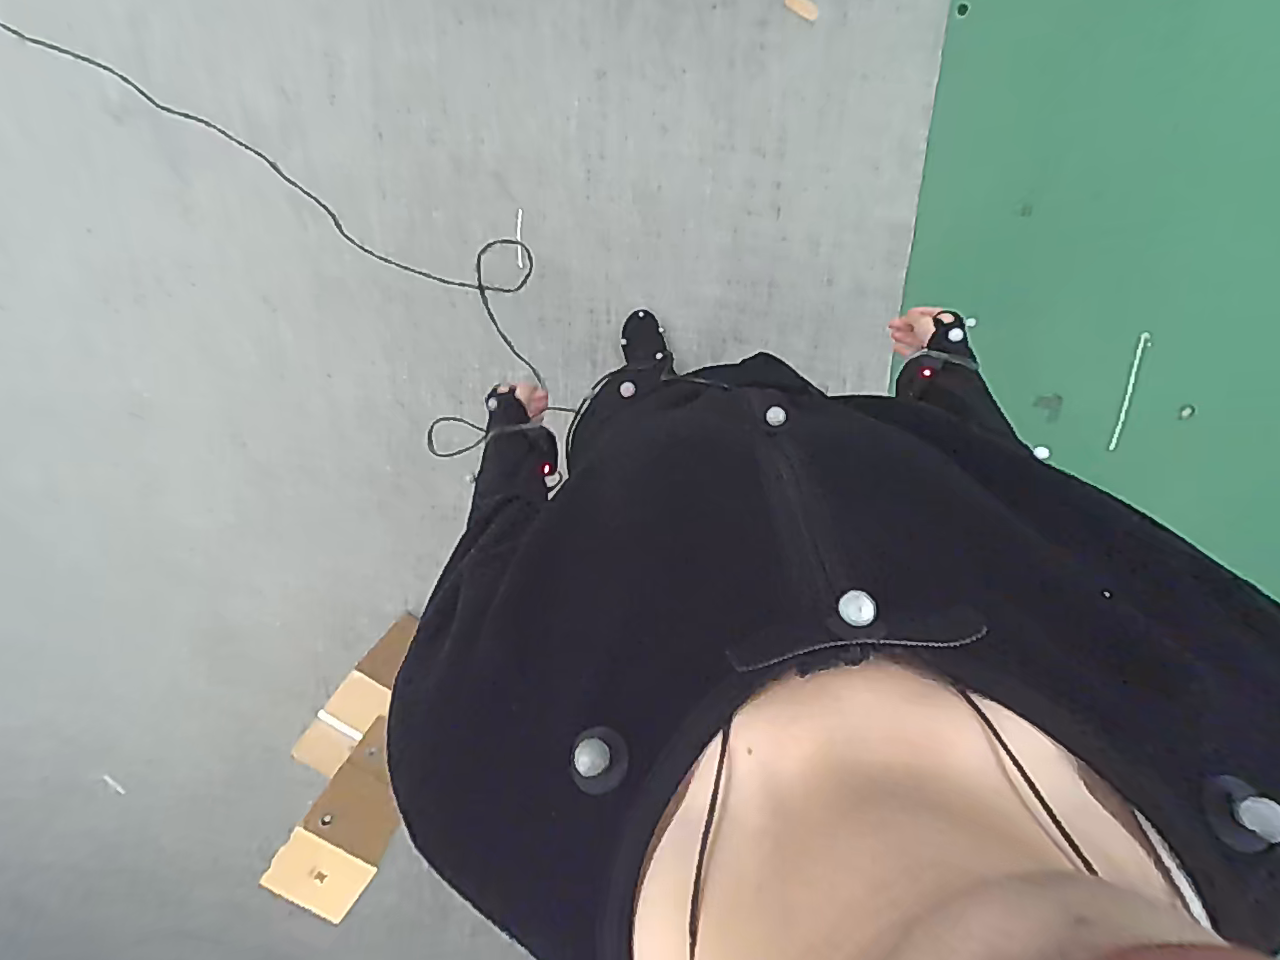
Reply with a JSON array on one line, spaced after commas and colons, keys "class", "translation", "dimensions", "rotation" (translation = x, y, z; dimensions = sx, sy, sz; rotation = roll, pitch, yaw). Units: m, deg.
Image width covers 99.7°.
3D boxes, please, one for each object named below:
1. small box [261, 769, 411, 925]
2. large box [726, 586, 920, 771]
[{"class": "small box", "translation": [-0.607, 0.737, 1.104], "dimensions": [0.179, 0.176, 0.168], "rotation": [35, 100, -6]}, {"class": "large box", "translation": [0.477, 0.520, 1.473], "dimensions": [0.408, 0.320, 0.320], "rotation": [-11, 104, 1]}]
